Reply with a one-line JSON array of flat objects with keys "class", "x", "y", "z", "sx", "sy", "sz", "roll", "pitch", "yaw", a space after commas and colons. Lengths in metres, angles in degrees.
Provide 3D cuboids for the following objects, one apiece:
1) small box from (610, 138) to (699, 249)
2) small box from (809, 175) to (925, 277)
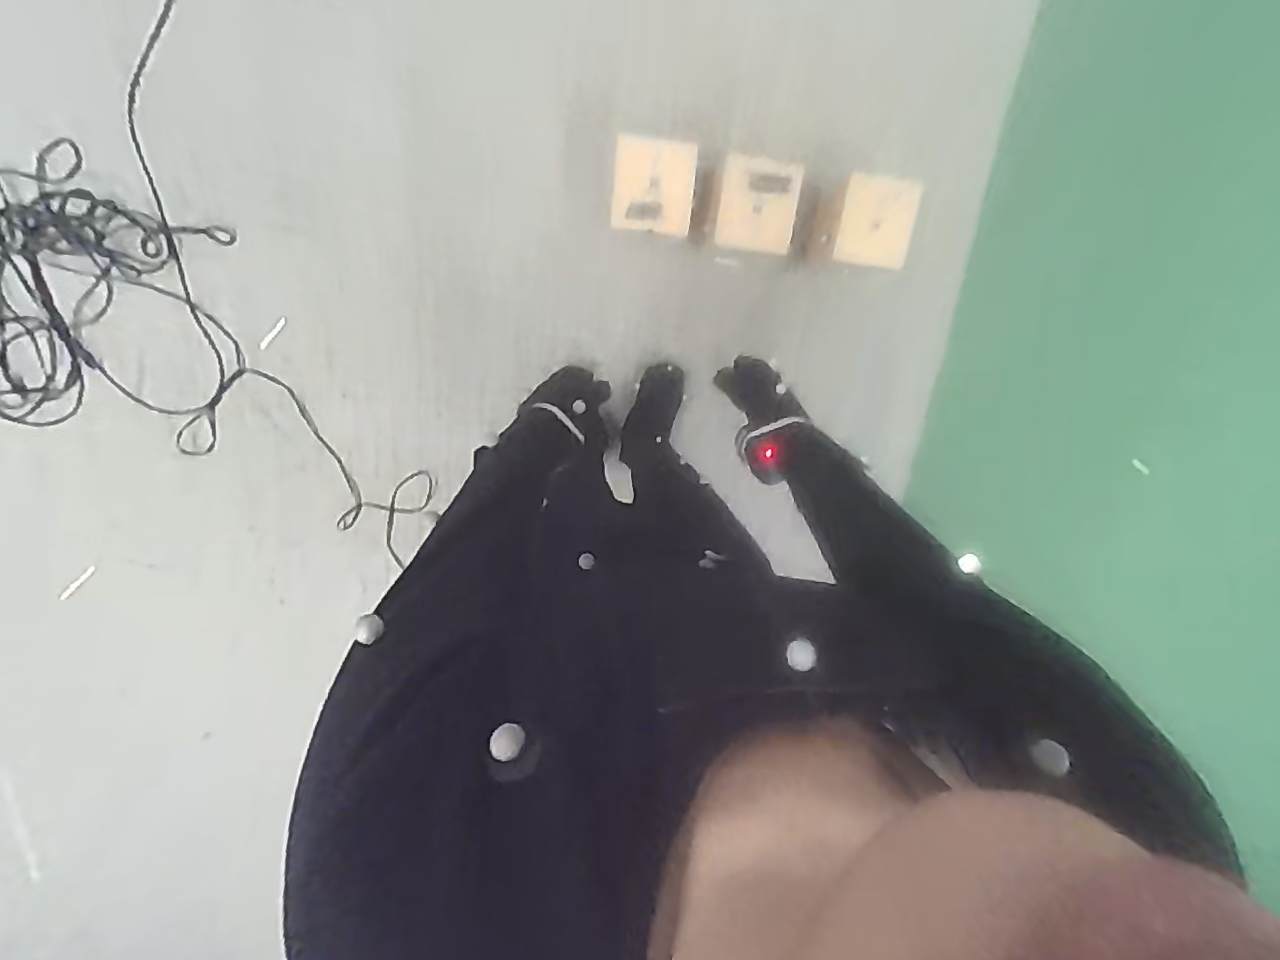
[{"class": "small box", "x": 0.025, "y": -0.609, "z": 1.174, "sx": 0.168, "sy": 0.176, "sz": 0.179, "roll": 5, "pitch": 106, "yaw": -5}, {"class": "small box", "x": 0.502, "y": -0.564, "z": 1.224, "sx": 0.168, "sy": 0.176, "sz": 0.179, "roll": 6, "pitch": 107, "yaw": -7}]
